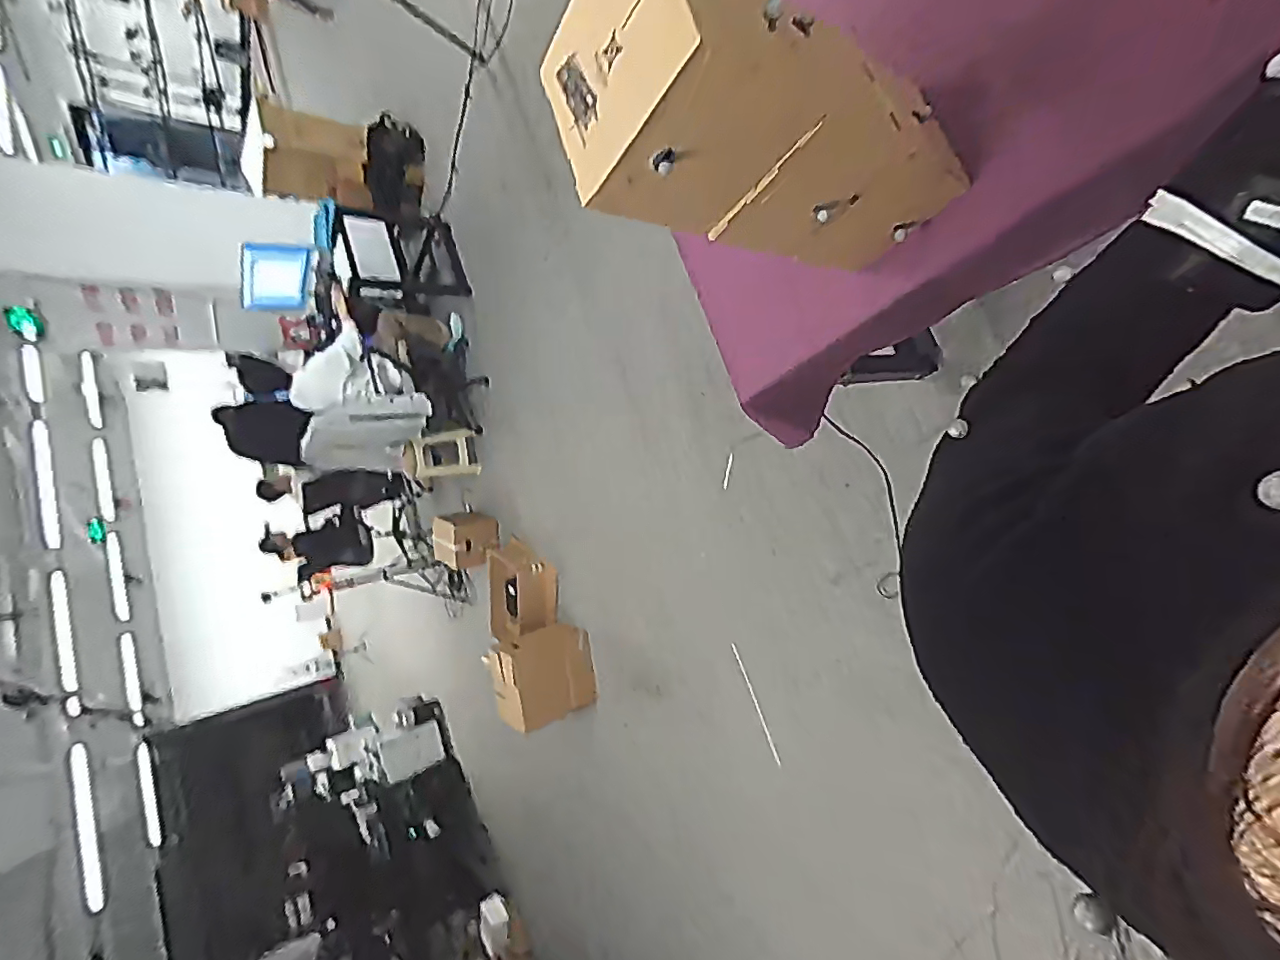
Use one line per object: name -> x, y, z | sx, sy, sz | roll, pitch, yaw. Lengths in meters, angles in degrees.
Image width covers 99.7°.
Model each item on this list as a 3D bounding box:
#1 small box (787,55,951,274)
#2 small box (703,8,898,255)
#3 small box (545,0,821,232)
small box -> 0.288, -0.406, 0.732 | 0.179, 0.176, 0.168 | -34, 71, 47
small box -> 0.160, -0.389, 0.629 | 0.168, 0.176, 0.179 | -33, 73, 49
small box -> 0.037, -0.369, 0.521 | 0.179, 0.176, 0.168 | -30, 75, 49
